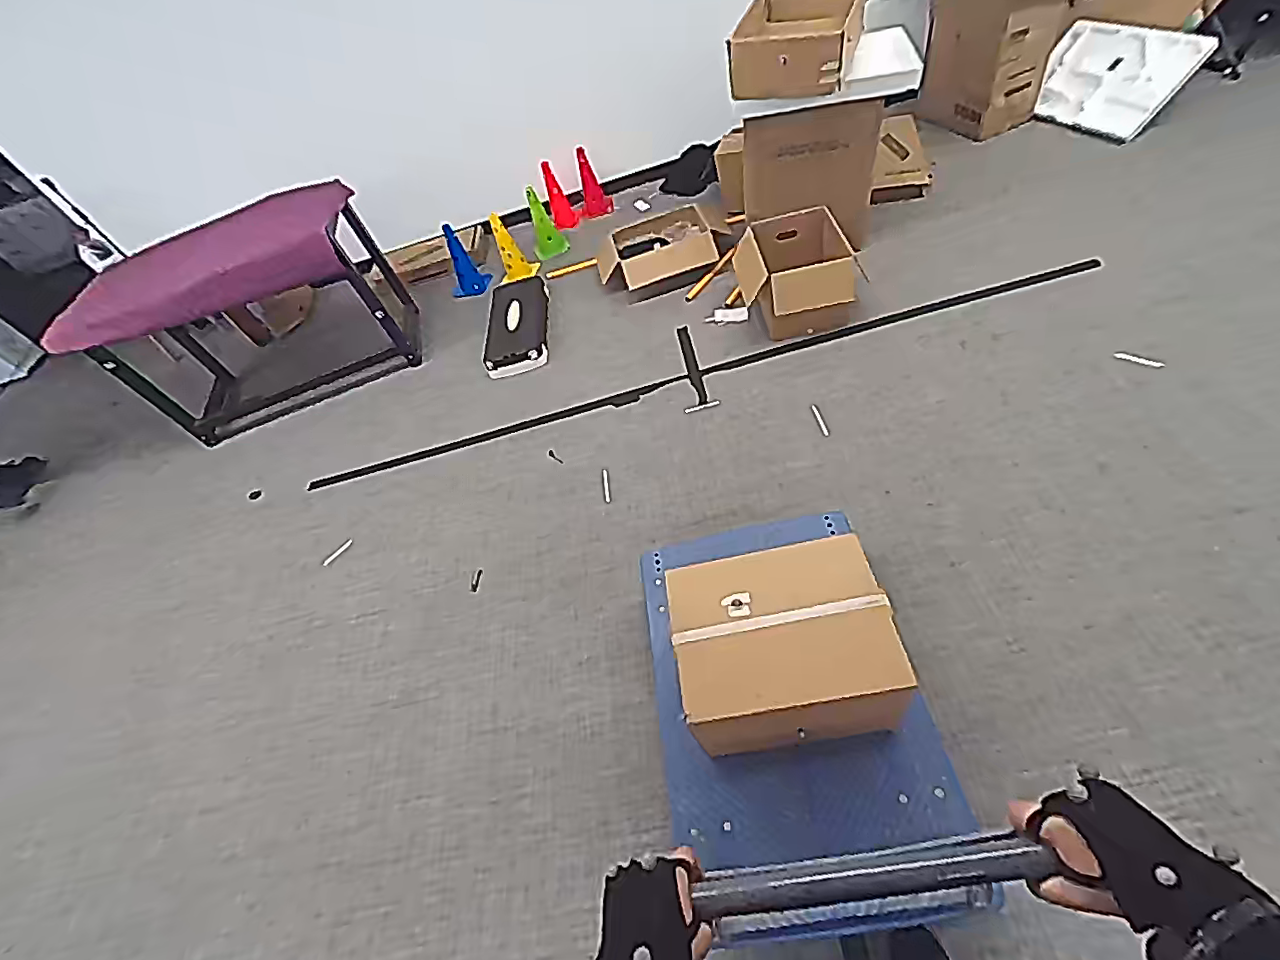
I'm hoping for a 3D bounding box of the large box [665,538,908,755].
[{"bbox_3d":[0.299,0.371,1.169,0.408,0.320,0.320,-14,50,8],"label":"large box"}]
